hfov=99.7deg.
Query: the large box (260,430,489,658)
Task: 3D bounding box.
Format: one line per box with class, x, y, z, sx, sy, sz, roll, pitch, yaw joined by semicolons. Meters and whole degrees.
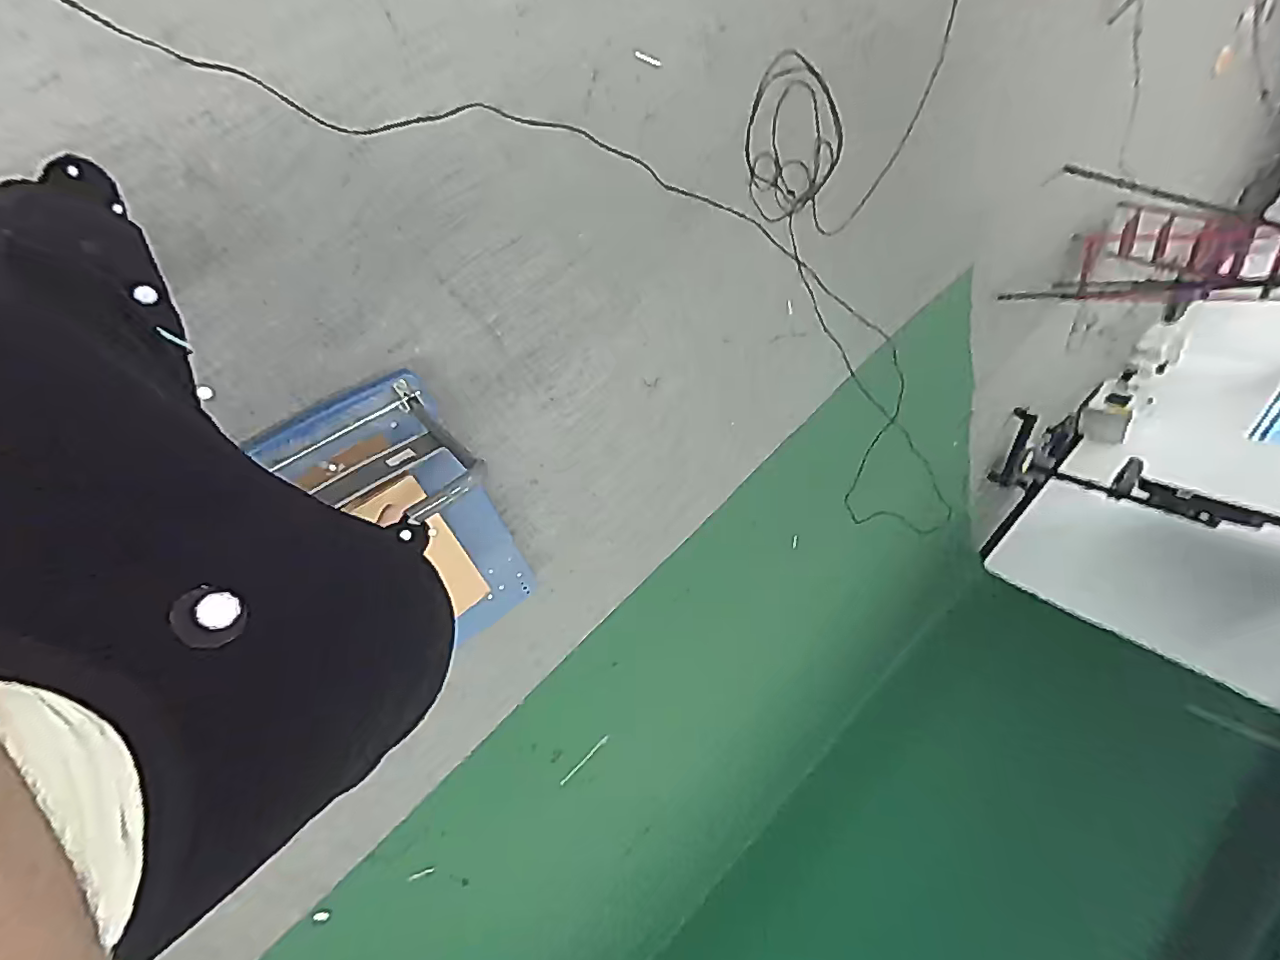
large box;-0.651;0.149;1.346;0.320;0.320;0.408;-35;130;-19
